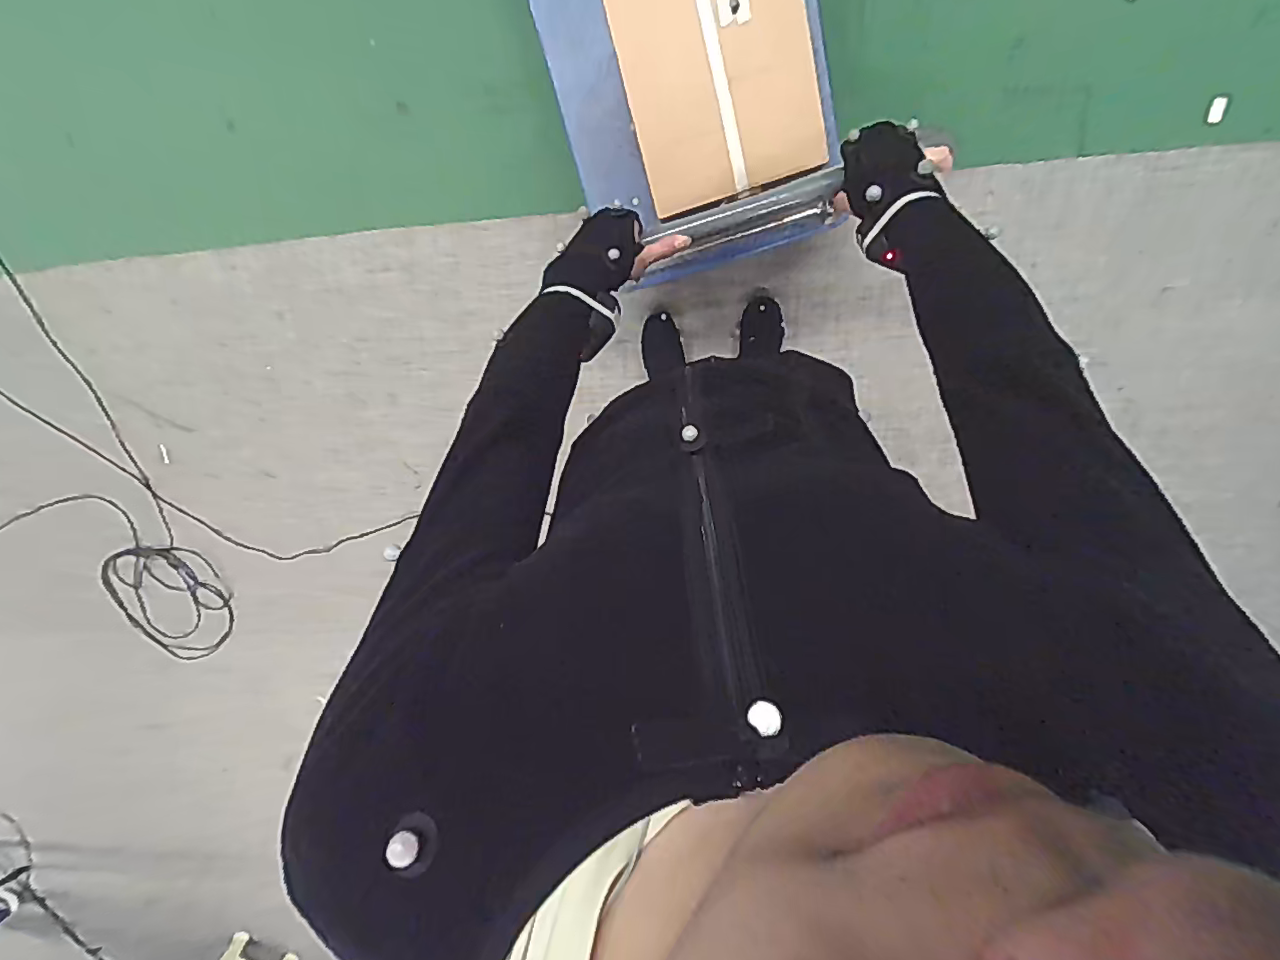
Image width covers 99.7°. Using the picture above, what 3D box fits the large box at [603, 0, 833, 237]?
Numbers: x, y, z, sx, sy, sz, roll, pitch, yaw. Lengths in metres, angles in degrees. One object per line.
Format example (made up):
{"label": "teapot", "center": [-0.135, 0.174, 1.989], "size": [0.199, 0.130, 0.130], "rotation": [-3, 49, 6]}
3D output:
{"label": "large box", "center": [0.149, -0.737, 1.042], "size": [0.320, 0.320, 0.408], "rotation": [-14, 106, 11]}
